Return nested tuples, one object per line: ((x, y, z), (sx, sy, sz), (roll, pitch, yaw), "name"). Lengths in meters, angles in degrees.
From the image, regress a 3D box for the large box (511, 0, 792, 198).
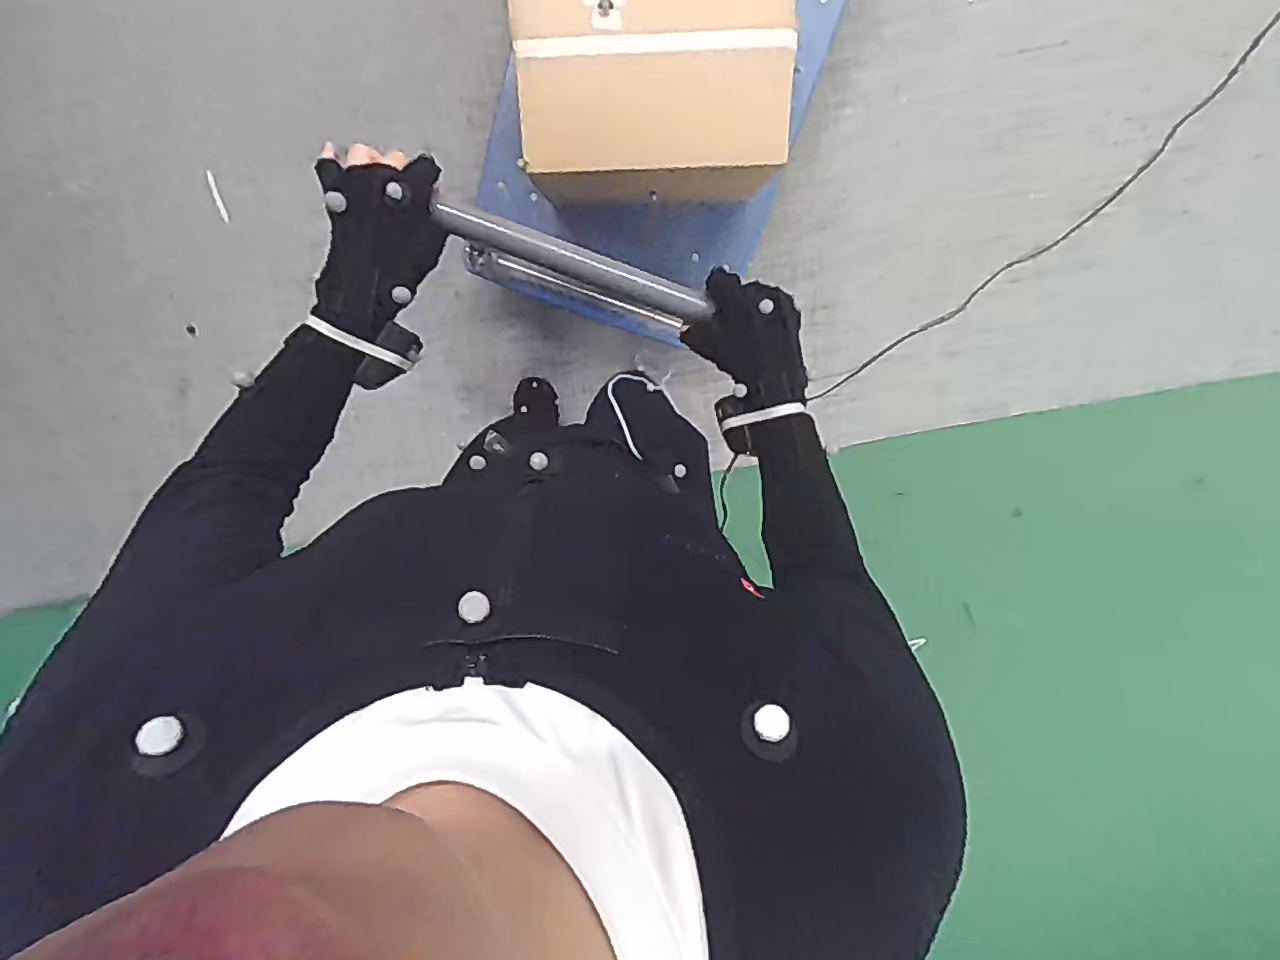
((0.021, -0.679, 0.916), (0.408, 0.320, 0.320), (-2, 108, 1), "large box")
